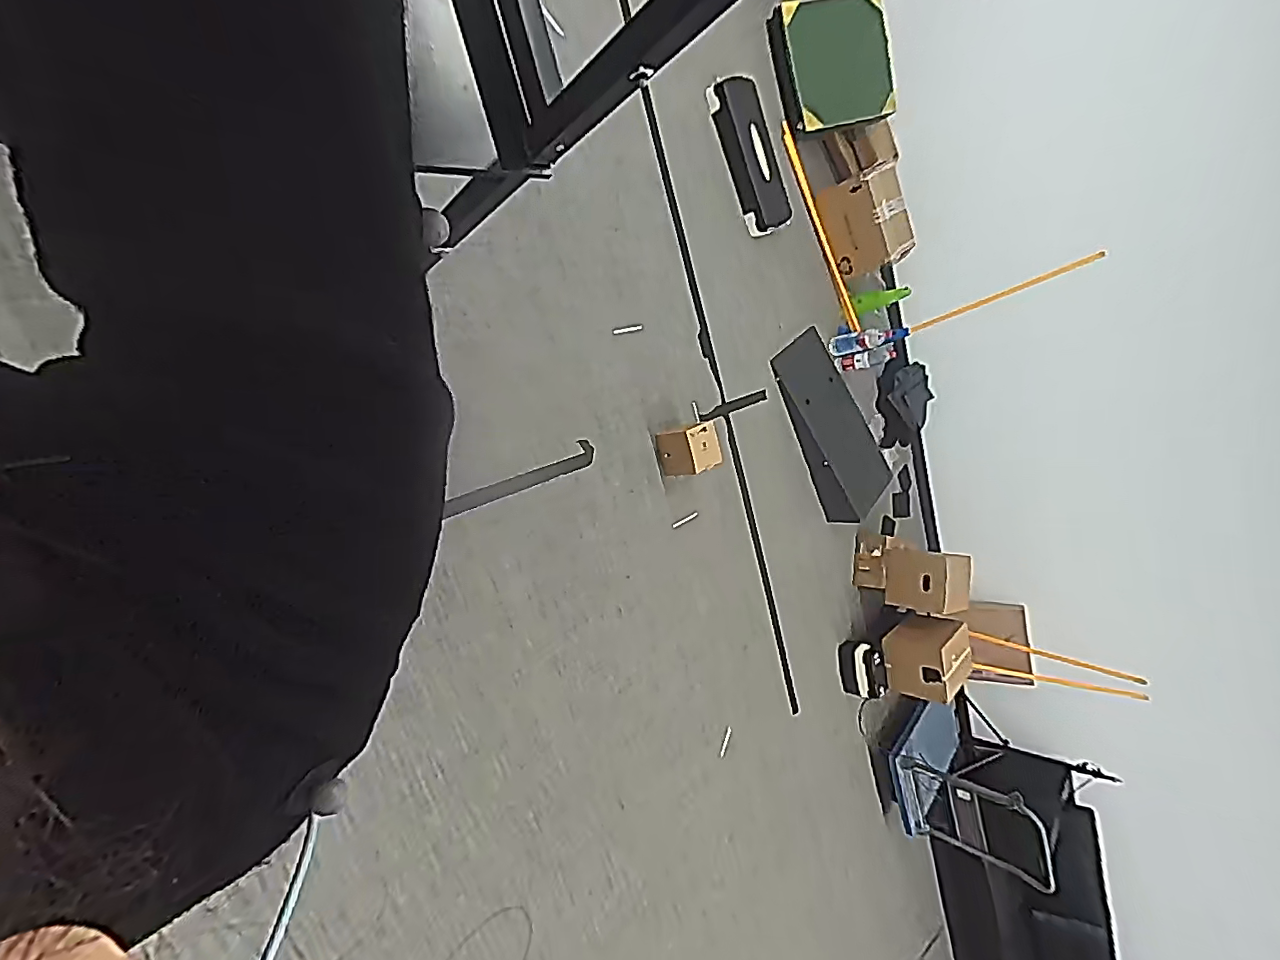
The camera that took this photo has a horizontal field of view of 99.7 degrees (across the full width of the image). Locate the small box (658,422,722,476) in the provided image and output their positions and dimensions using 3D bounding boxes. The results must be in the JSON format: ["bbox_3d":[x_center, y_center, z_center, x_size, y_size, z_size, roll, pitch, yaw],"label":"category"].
[{"bbox_3d":[0.196,-0.122,2.145,0.168,0.176,0.179,-24,105,-40],"label":"small box"}]
